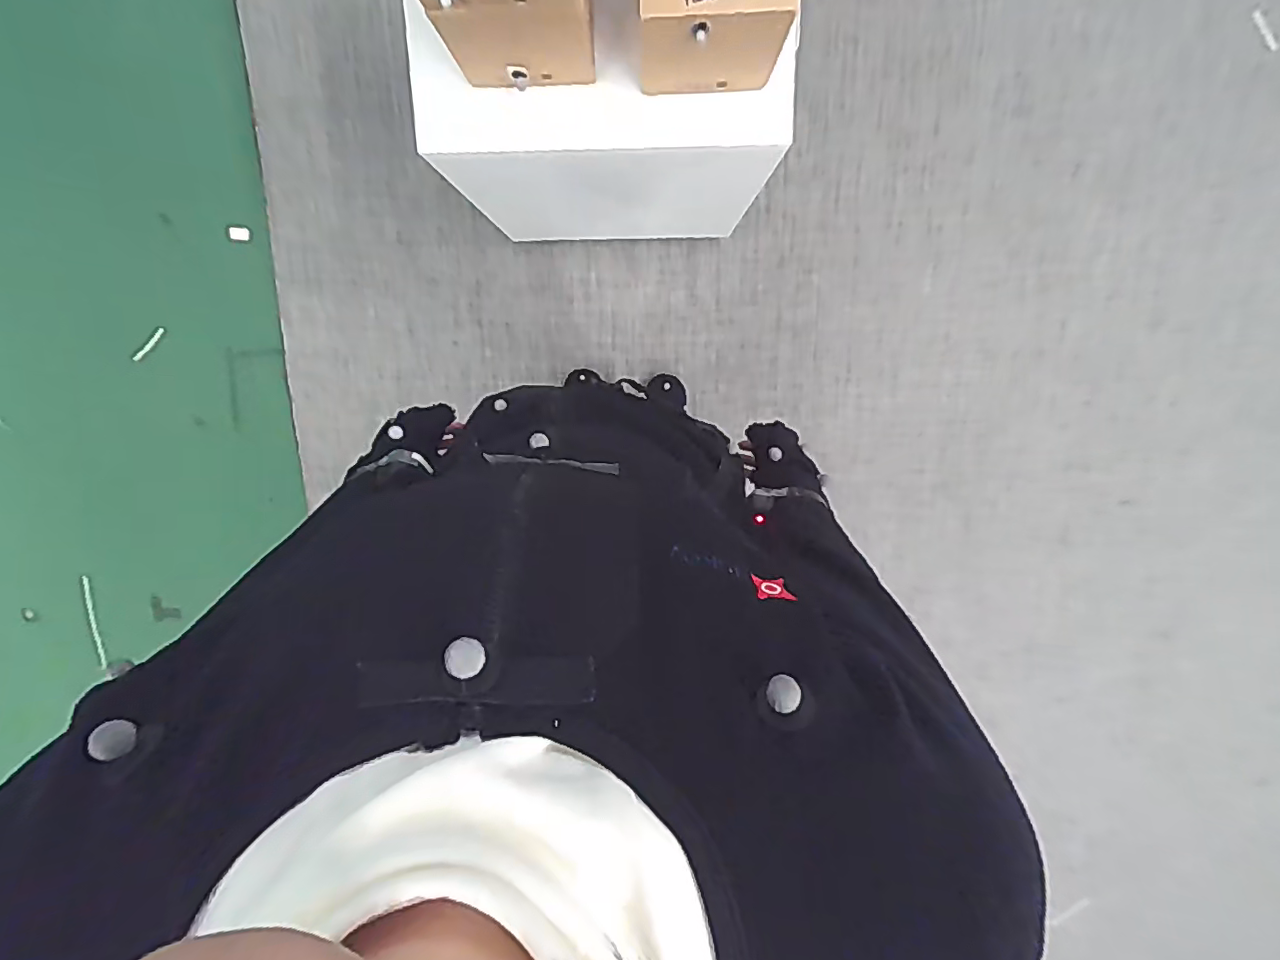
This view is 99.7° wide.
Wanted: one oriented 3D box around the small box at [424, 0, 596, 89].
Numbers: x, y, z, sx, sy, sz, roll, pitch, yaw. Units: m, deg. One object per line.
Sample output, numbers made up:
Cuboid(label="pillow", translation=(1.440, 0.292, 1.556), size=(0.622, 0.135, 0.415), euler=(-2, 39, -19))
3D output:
Cuboid(label="small box", translation=(-0.142, -0.585, 0.612), size=(0.168, 0.176, 0.179), euler=(-3, 103, 2))

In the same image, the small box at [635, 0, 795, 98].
Cuboid(label="small box", translation=(0.078, -0.580, 0.624), size=(0.168, 0.176, 0.179), euler=(-1, 101, 1))

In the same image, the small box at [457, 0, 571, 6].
Cuboid(label="small box", translation=(-0.144, -0.556, 0.466), size=(0.168, 0.176, 0.179), euler=(0, 100, 1))
